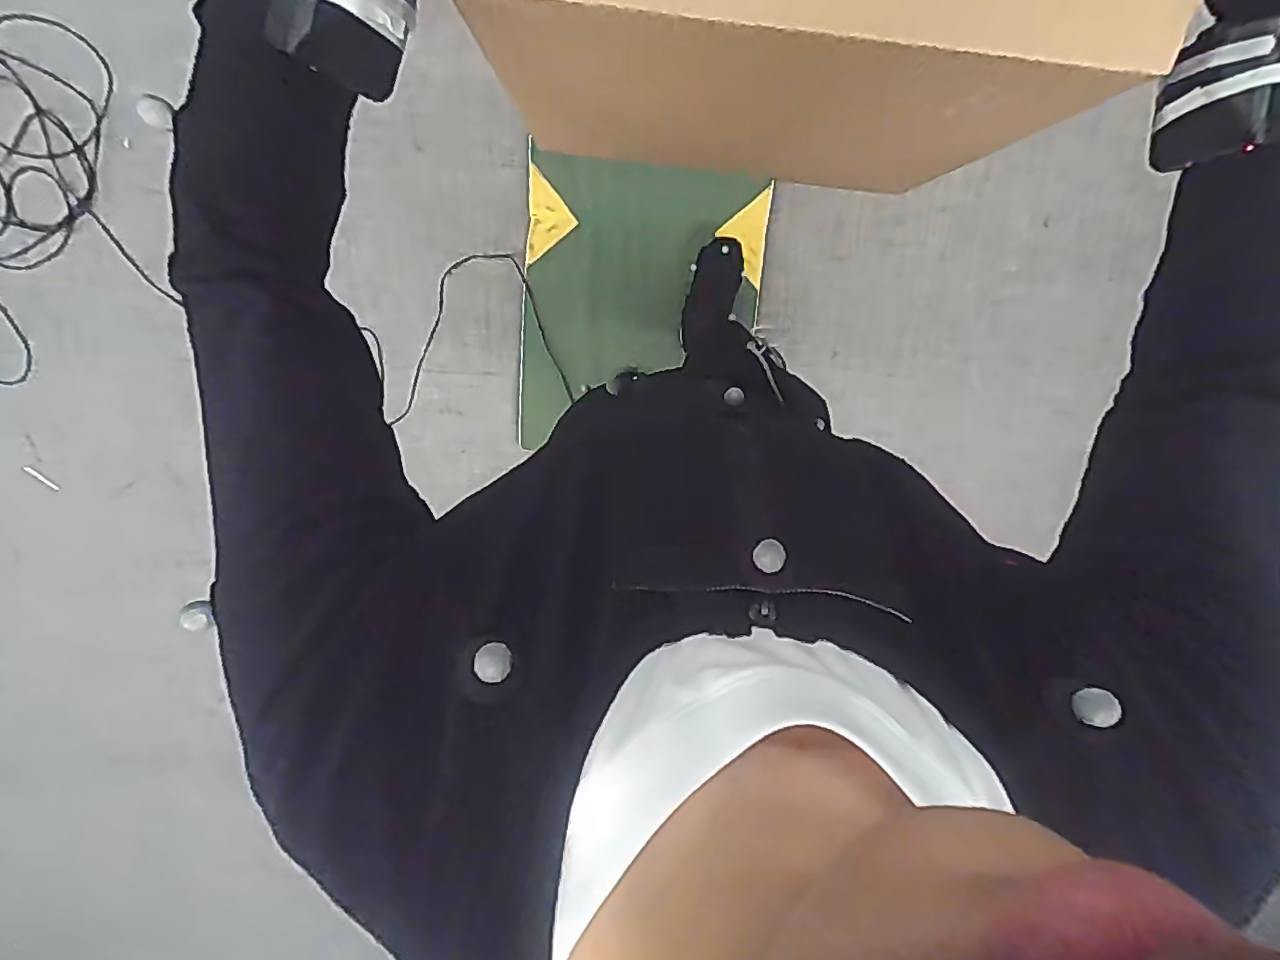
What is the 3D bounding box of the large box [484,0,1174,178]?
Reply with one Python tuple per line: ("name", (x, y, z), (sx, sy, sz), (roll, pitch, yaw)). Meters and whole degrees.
("large box", (0.108, -0.447, 0.401), (0.408, 0.320, 0.320), (5, 107, -3))
